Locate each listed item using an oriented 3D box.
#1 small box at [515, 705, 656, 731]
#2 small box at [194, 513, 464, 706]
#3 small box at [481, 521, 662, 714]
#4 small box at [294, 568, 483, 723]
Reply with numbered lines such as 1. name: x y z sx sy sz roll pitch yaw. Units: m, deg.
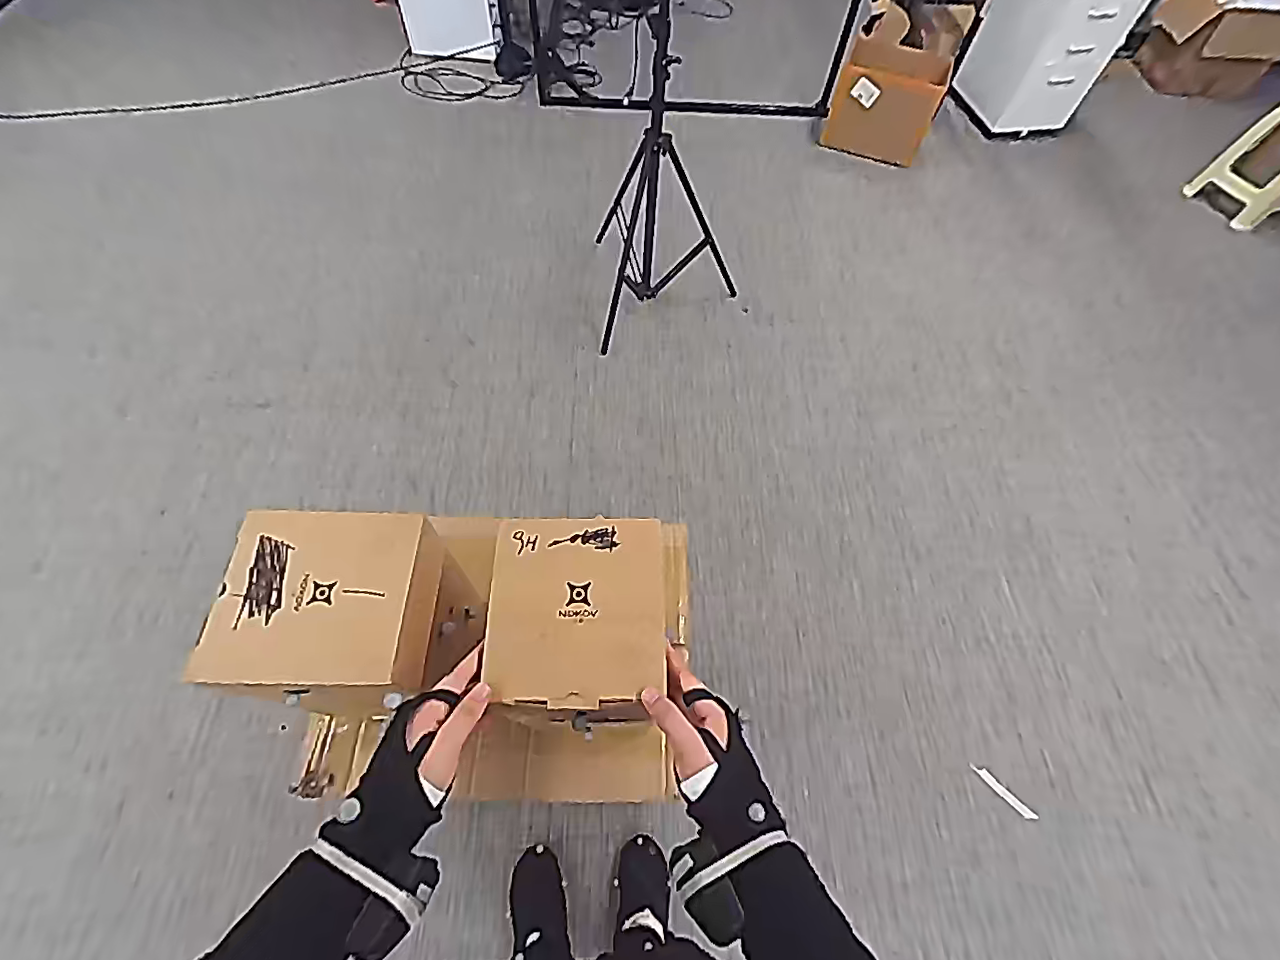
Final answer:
1. small box: -0.064 0.235 0.729 0.168 0.176 0.179 0 62 0
2. small box: -0.307 0.146 0.581 0.179 0.176 0.168 1 61 -3
3. small box: -0.062 0.156 0.585 0.168 0.176 0.179 -1 63 -1
4. small box: -0.317 0.224 0.726 0.168 0.176 0.179 1 62 -2
